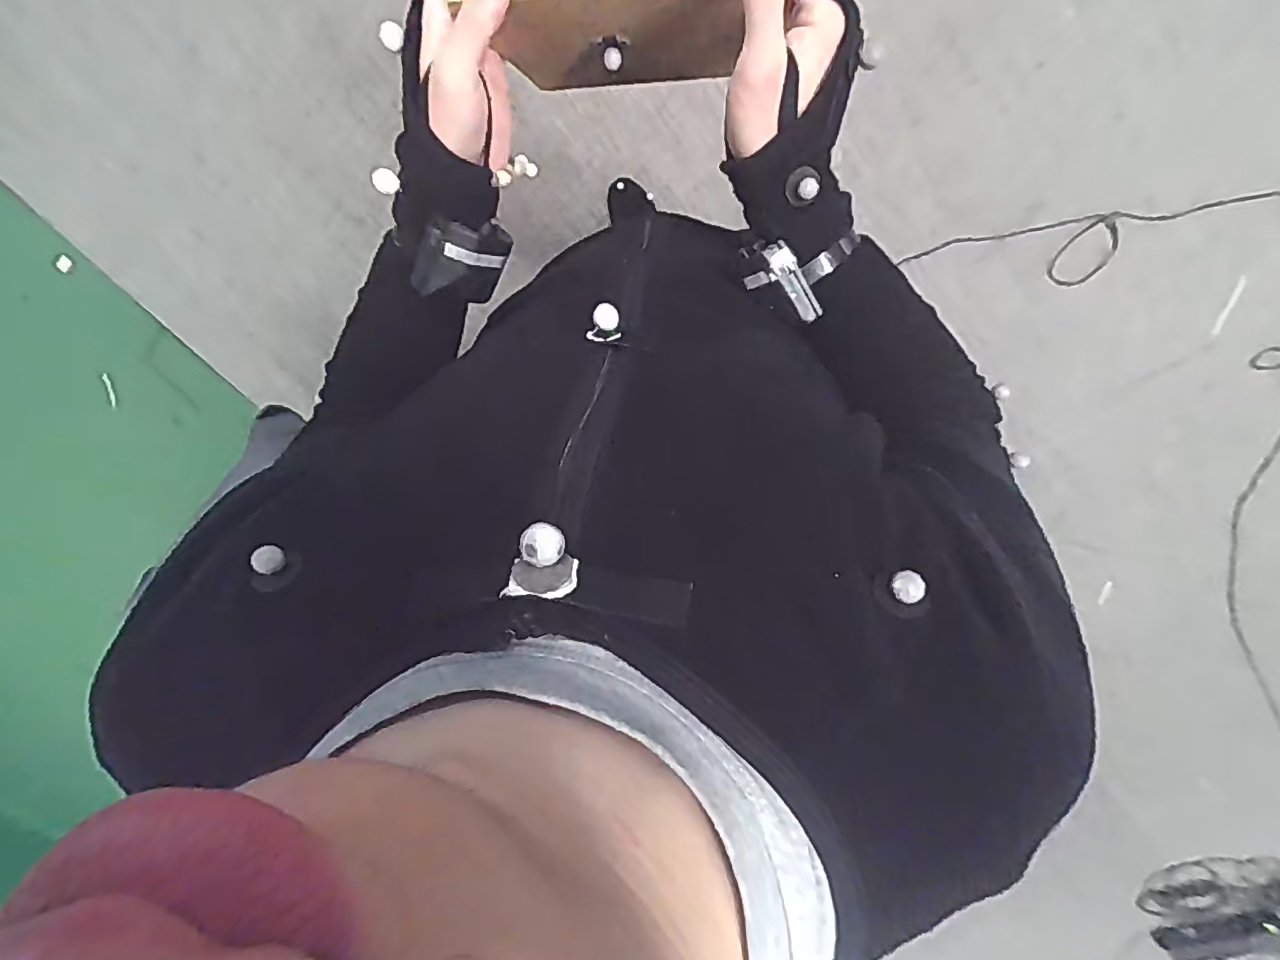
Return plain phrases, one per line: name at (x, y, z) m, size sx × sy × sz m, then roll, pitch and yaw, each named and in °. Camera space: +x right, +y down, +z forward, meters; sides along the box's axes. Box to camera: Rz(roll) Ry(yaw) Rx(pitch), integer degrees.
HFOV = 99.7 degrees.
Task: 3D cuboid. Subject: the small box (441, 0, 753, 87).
small box at (-0.014, -0.365, 0.329) m, size 0.179 × 0.176 × 0.168 m, roll 2°, pitch 111°, yaw 10°
